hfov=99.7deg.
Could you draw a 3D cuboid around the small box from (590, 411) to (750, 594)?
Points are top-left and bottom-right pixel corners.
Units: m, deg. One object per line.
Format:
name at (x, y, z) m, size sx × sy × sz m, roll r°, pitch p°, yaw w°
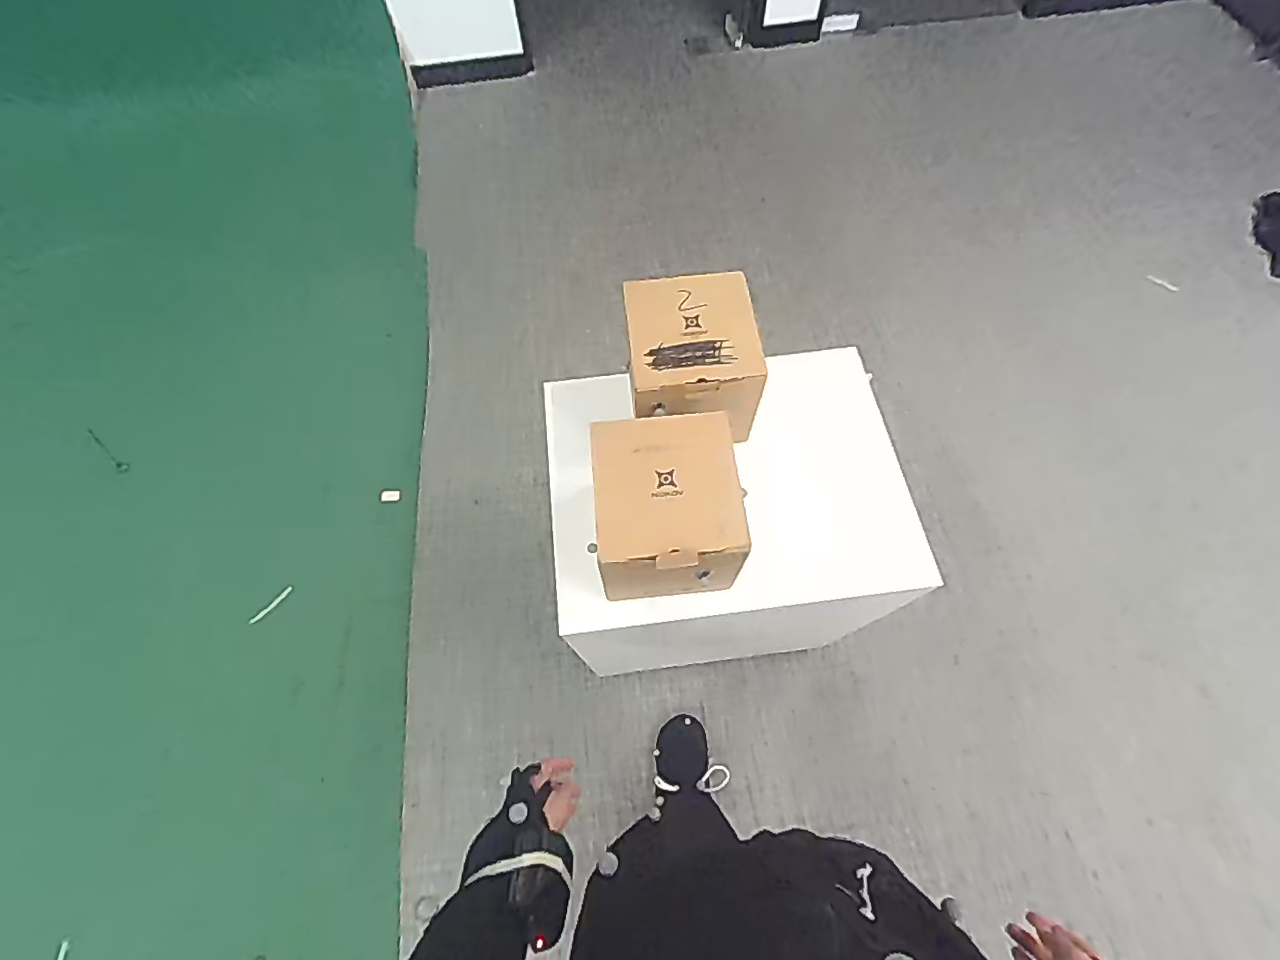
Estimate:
small box at (0.030, 0.037, 0.671) m, size 0.168 × 0.176 × 0.179 m, roll -5°, pitch 63°, yaw -3°
